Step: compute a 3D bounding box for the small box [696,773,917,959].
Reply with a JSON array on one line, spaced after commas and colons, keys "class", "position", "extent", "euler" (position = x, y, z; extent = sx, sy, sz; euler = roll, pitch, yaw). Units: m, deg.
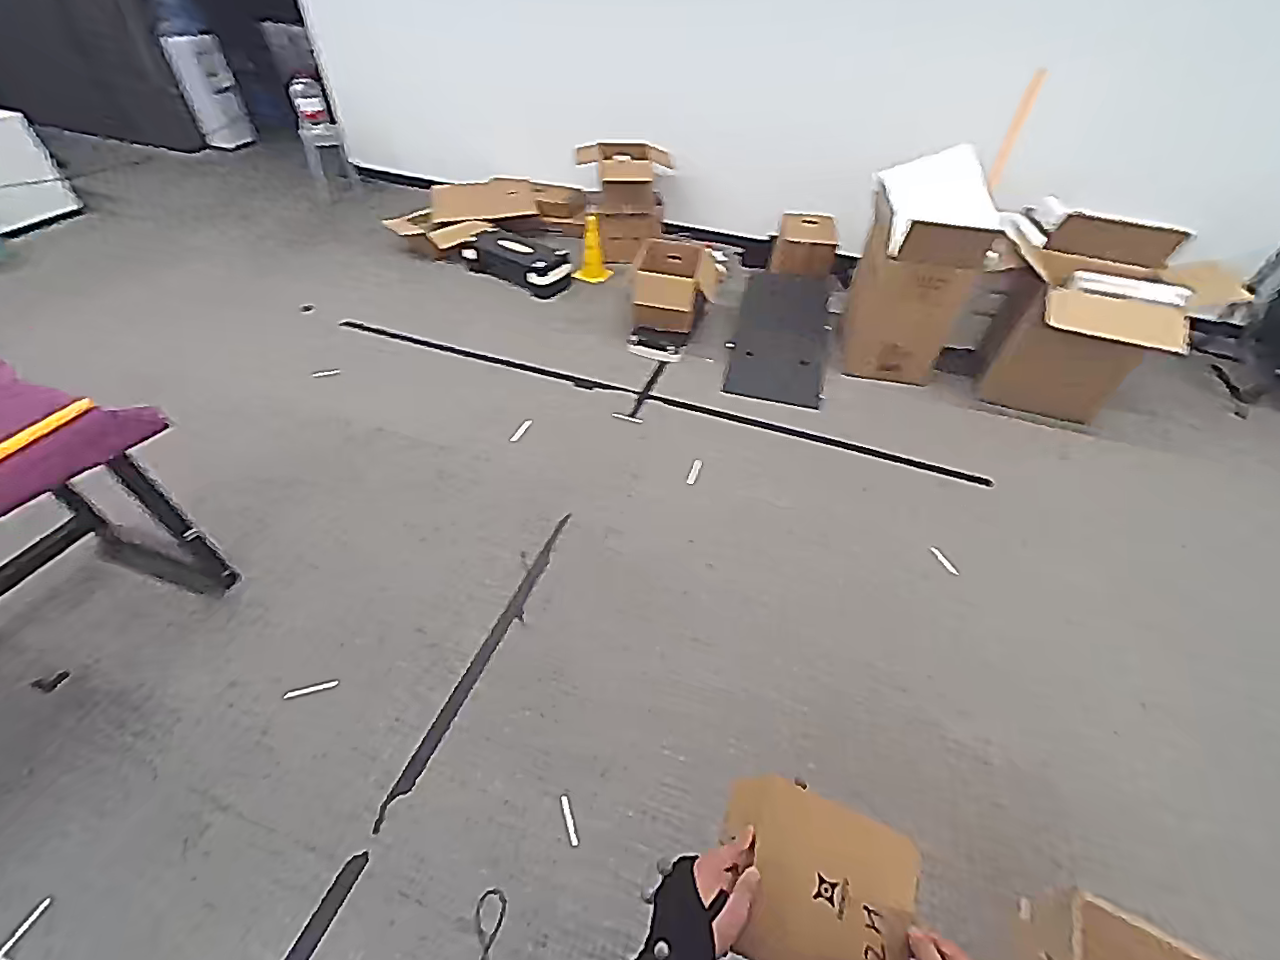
[{"class": "small box", "position": [0.179, 0.461, 0.616], "extent": [0.179, 0.176, 0.168], "euler": [23, 59, 6]}]
